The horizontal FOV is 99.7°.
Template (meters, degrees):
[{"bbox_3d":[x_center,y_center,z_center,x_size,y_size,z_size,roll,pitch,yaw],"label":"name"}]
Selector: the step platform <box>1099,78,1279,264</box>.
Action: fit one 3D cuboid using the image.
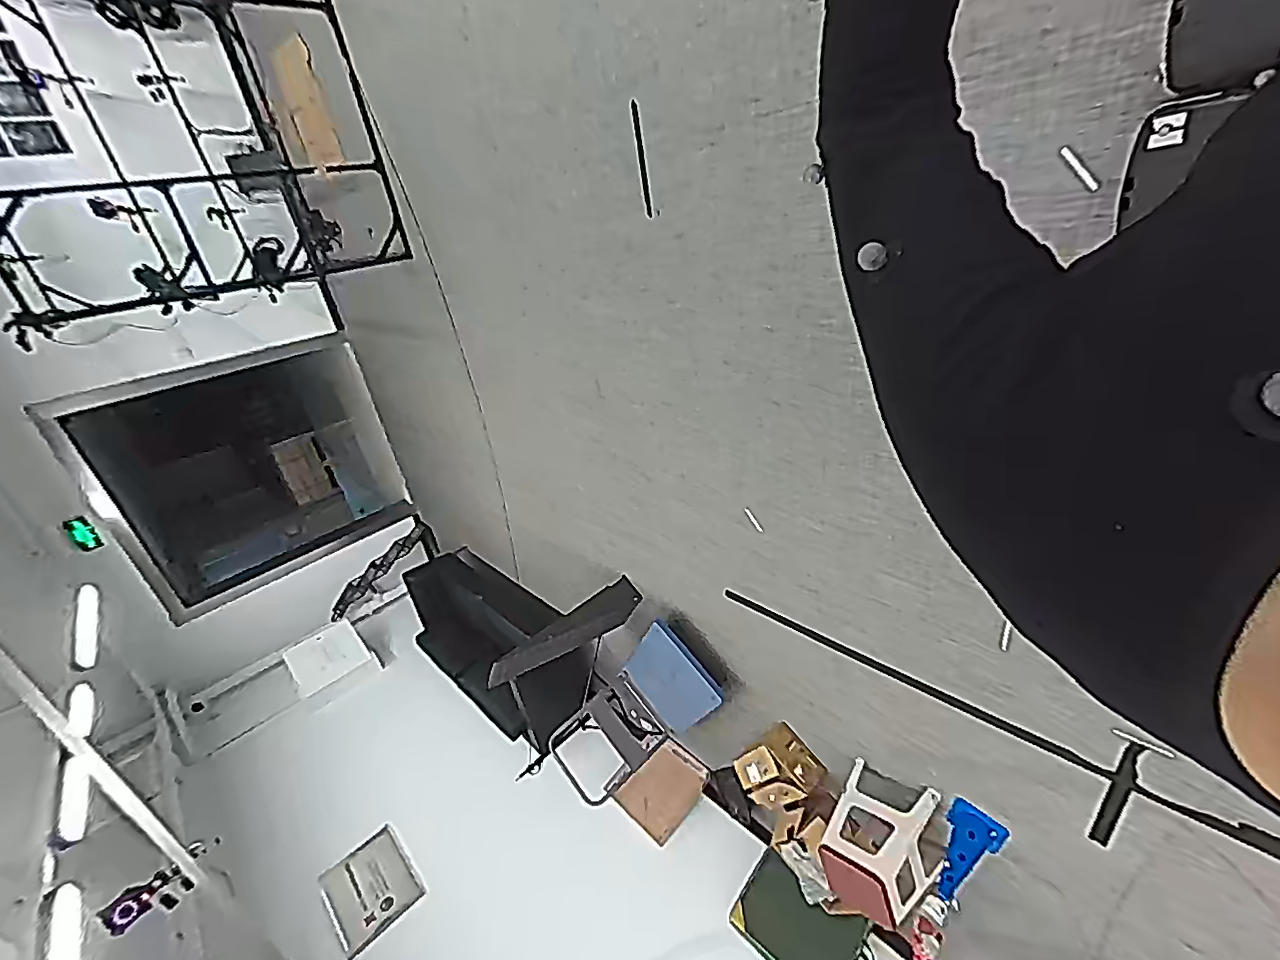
[{"bbox_3d":[1.209,-0.535,0.892,0.684,0.204,0.286,18,127,46],"label":"step platform"}]
